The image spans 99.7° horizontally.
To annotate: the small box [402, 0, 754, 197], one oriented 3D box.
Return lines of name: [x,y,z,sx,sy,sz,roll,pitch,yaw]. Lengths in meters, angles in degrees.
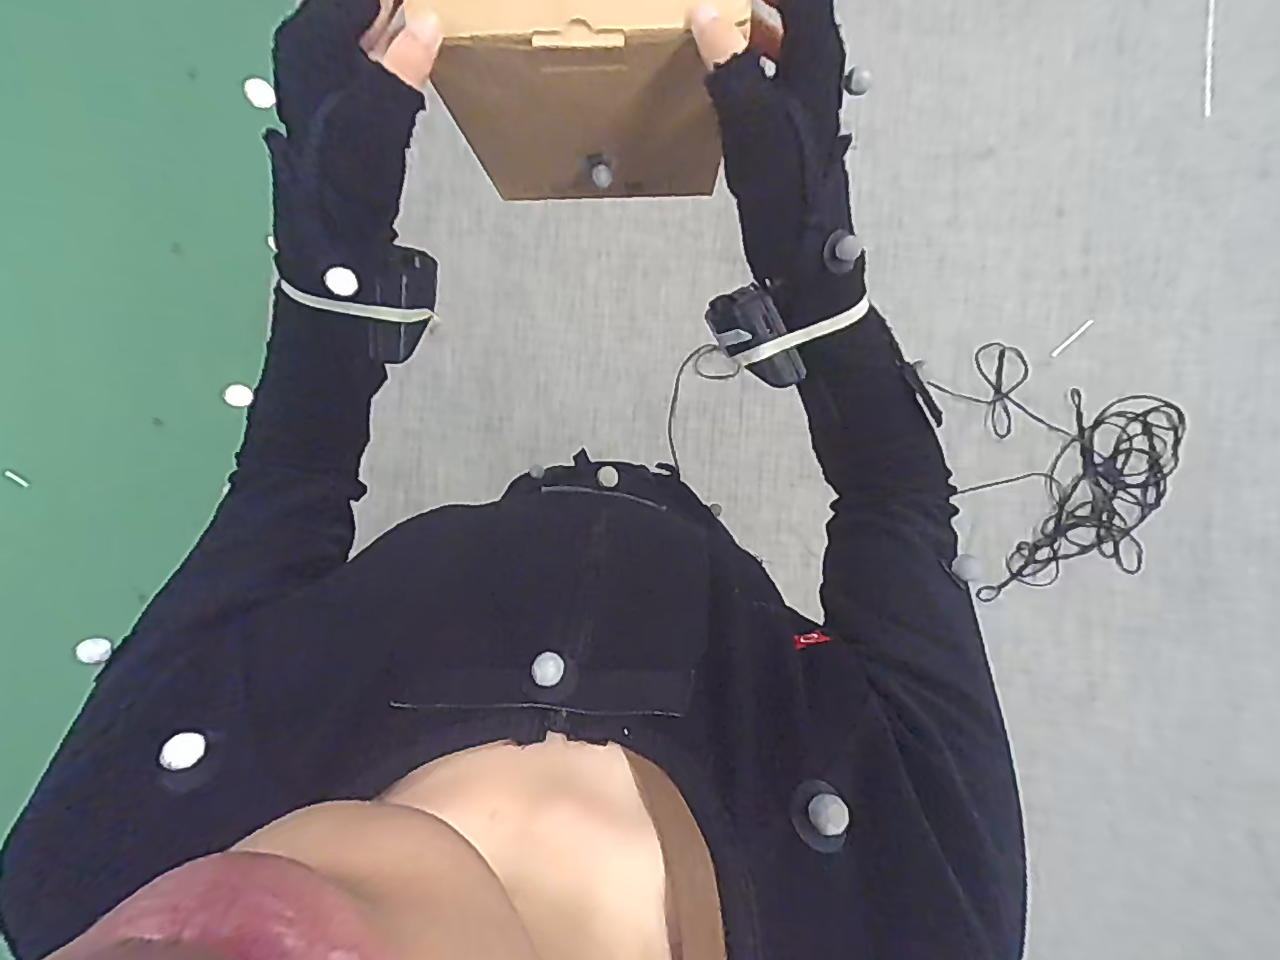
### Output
small box: [-0.026,-0.299,0.326,0.168,0.176,0.179,0,92,2]
